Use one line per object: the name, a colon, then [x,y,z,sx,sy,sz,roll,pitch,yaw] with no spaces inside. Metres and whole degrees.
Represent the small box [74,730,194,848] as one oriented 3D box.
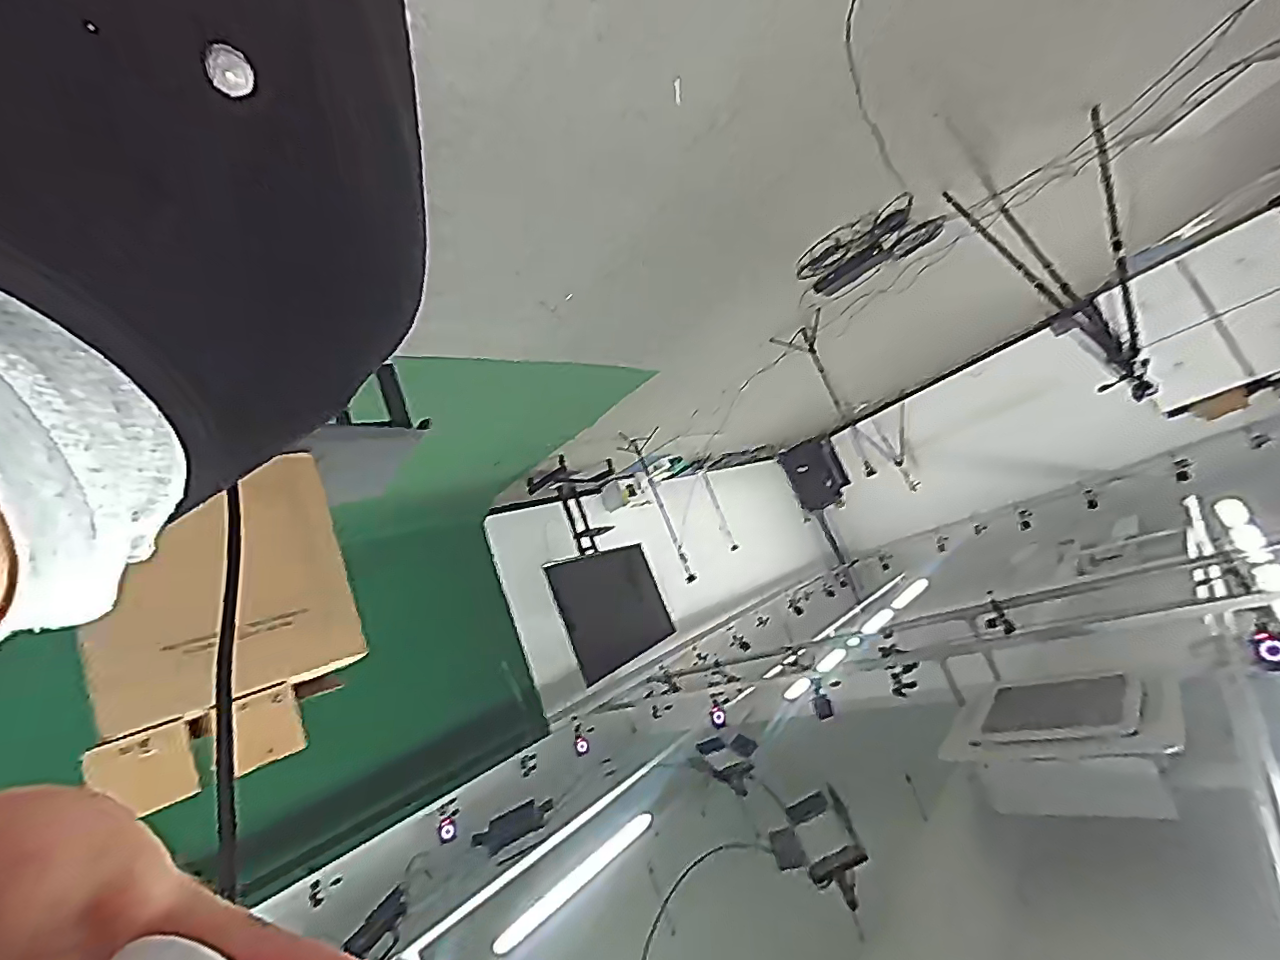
small box: [-1.111,0.671,1.187,0.168,0.176,0.179,-11,163,-48]
